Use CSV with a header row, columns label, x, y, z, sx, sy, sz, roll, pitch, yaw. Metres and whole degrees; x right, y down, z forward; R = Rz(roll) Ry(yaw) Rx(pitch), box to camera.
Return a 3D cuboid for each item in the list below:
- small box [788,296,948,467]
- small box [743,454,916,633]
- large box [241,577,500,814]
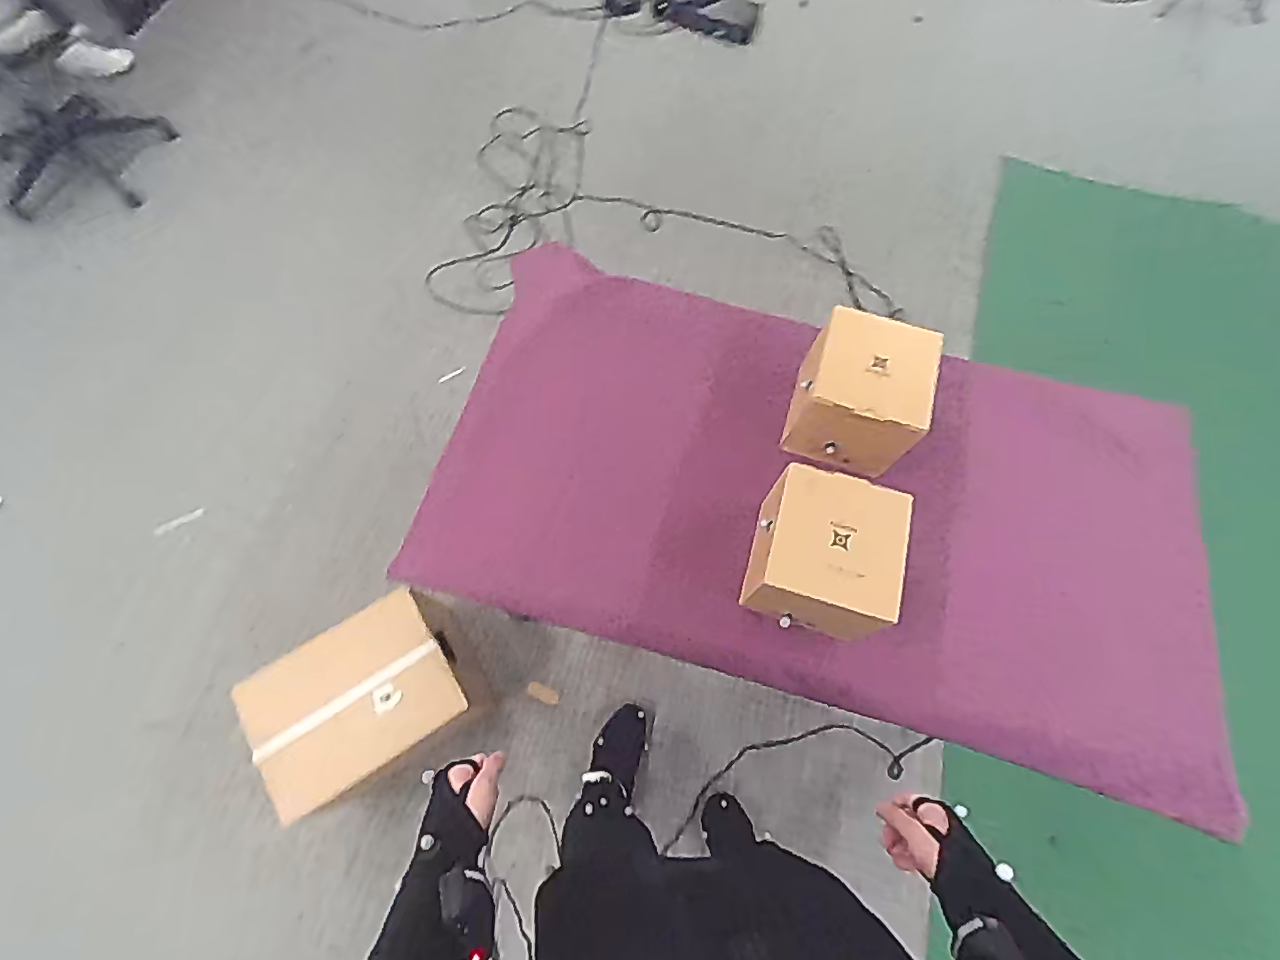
label,x,y,z,sx,sy,sz,roll,pitch,yaw
small box,0.344,-0.146,0.842,0.168,0.176,0.179,18,70,5
small box,0.251,0.094,0.744,0.168,0.176,0.179,17,69,7
large box,-0.606,0.495,1.284,0.408,0.320,0.320,-31,73,-13
